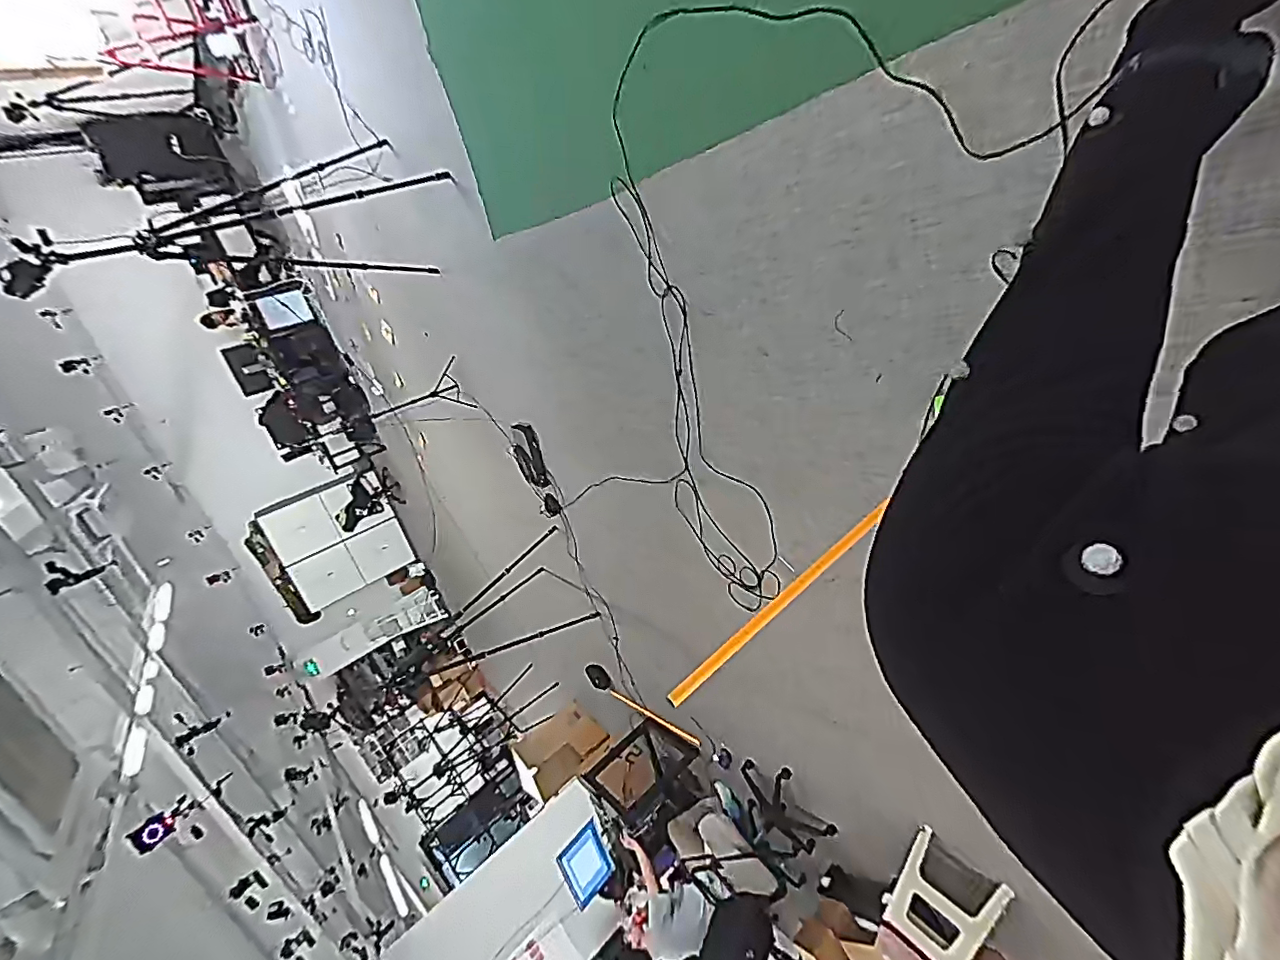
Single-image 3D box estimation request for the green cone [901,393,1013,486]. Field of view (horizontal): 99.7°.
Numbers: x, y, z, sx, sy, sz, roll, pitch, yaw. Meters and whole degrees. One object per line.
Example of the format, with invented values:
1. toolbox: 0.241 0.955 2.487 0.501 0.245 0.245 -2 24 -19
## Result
1. green cone: 0.828 -0.083 1.472 0.202 0.368 0.200 9 123 54
